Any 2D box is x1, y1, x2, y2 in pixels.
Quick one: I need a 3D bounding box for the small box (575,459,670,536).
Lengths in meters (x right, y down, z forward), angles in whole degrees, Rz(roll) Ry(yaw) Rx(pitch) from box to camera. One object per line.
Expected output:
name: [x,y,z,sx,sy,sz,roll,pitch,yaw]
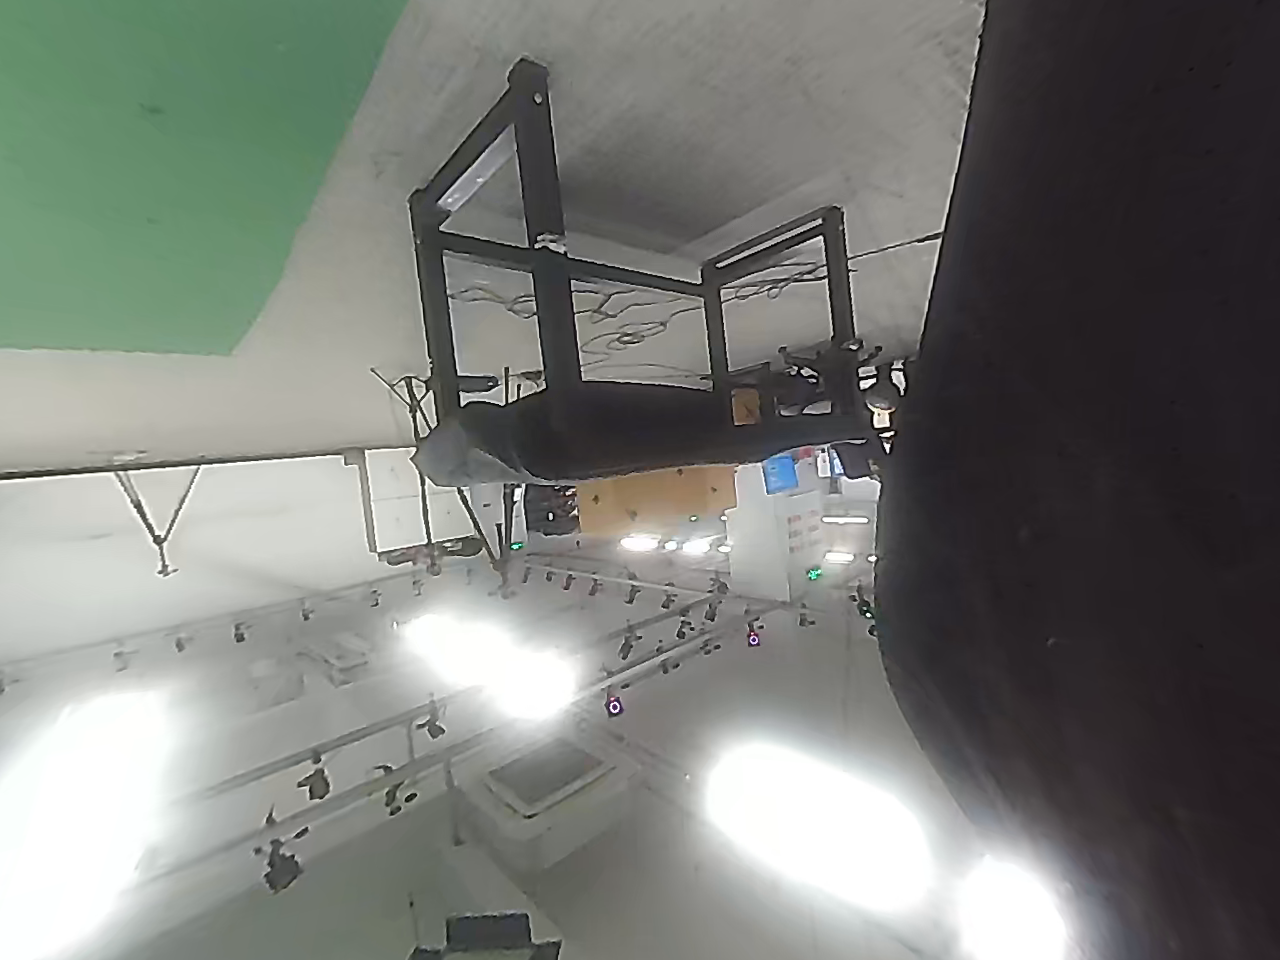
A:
small box: [-0.049,0.042,1.368,0.179,0.176,0.168,-8,-176,-40]
